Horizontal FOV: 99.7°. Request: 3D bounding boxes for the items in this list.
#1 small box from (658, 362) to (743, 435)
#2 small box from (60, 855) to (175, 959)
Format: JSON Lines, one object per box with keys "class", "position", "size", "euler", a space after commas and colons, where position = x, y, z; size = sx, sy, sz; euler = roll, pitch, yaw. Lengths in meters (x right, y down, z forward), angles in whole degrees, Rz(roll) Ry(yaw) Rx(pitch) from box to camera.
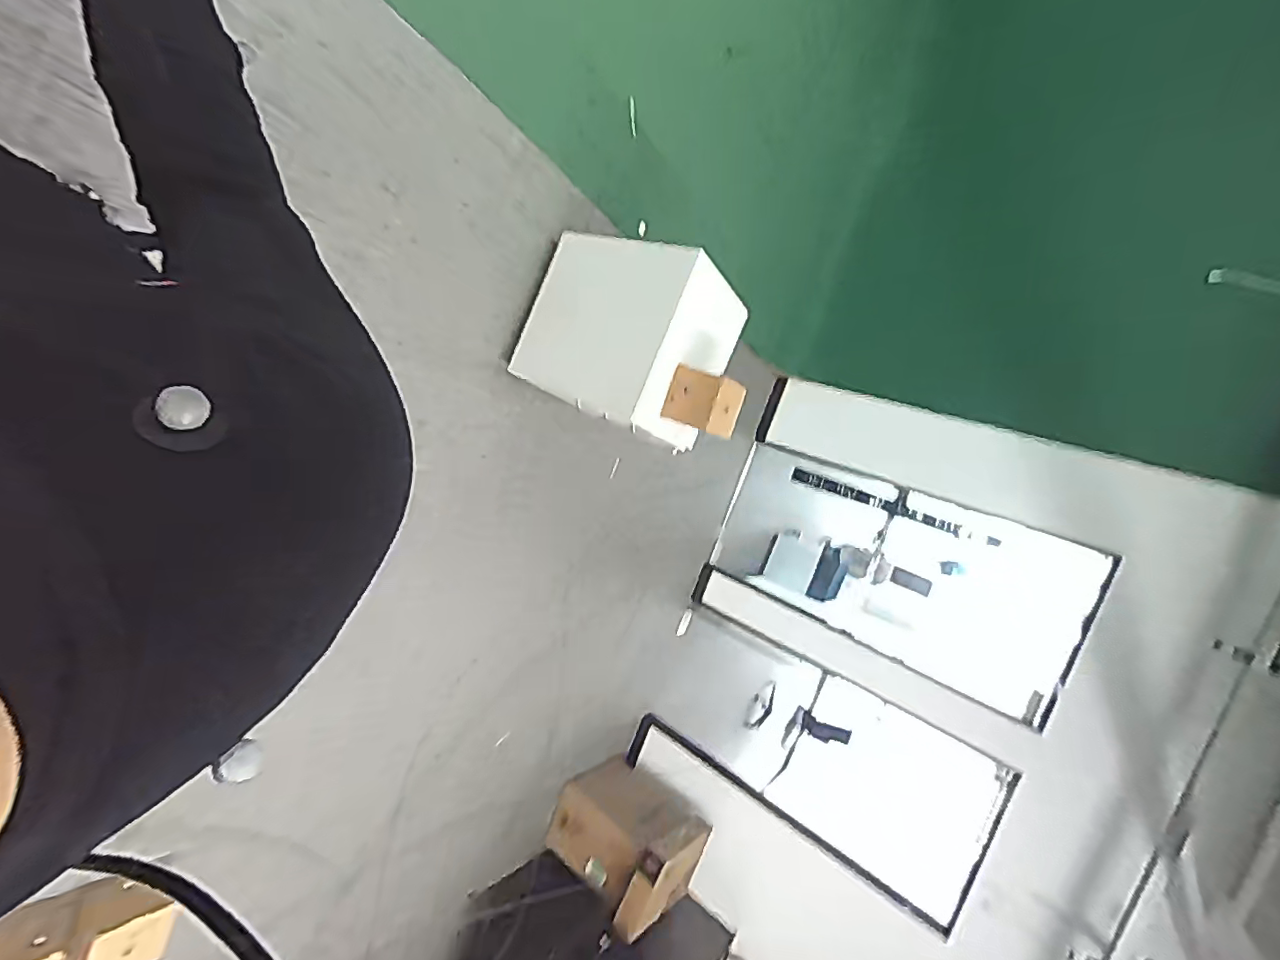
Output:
{"class": "small box", "position": [0.185, -0.248, 1.649], "size": [0.179, 0.176, 0.168], "euler": [8, 103, -57]}
{"class": "small box", "position": [-1.355, 1.134, 1.400], "size": [0.168, 0.176, 0.179], "euler": [12, 100, -59]}
